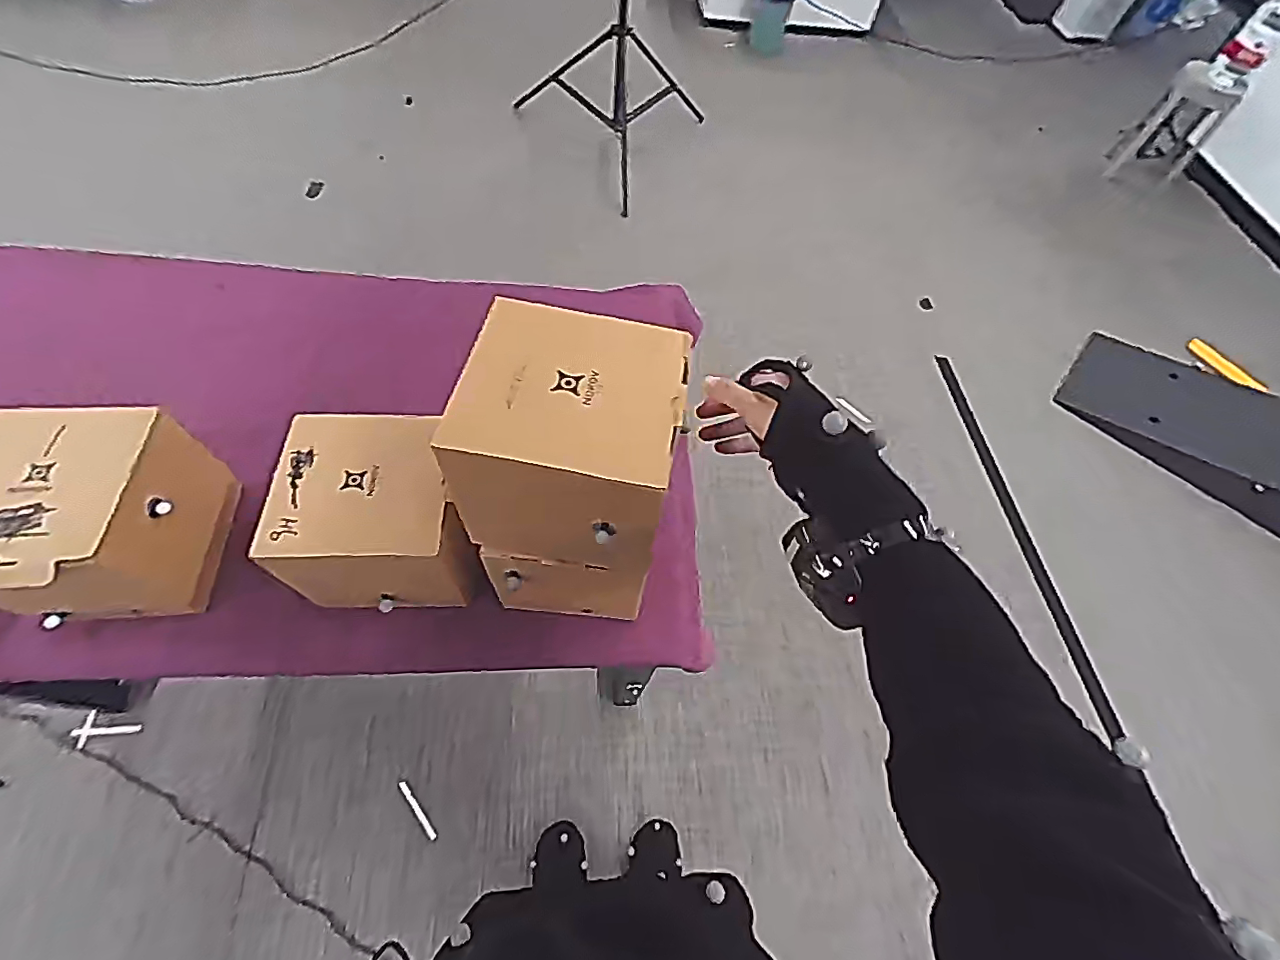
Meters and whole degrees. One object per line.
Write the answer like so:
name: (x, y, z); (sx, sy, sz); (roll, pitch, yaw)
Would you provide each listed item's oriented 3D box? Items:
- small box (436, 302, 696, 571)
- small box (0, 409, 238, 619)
small box: (-0.056, -0.030, 0.493); (0.179, 0.176, 0.168); (10, 58, 1)
small box: (-0.578, 0.044, 0.580); (0.168, 0.176, 0.179); (-2, 60, -8)
